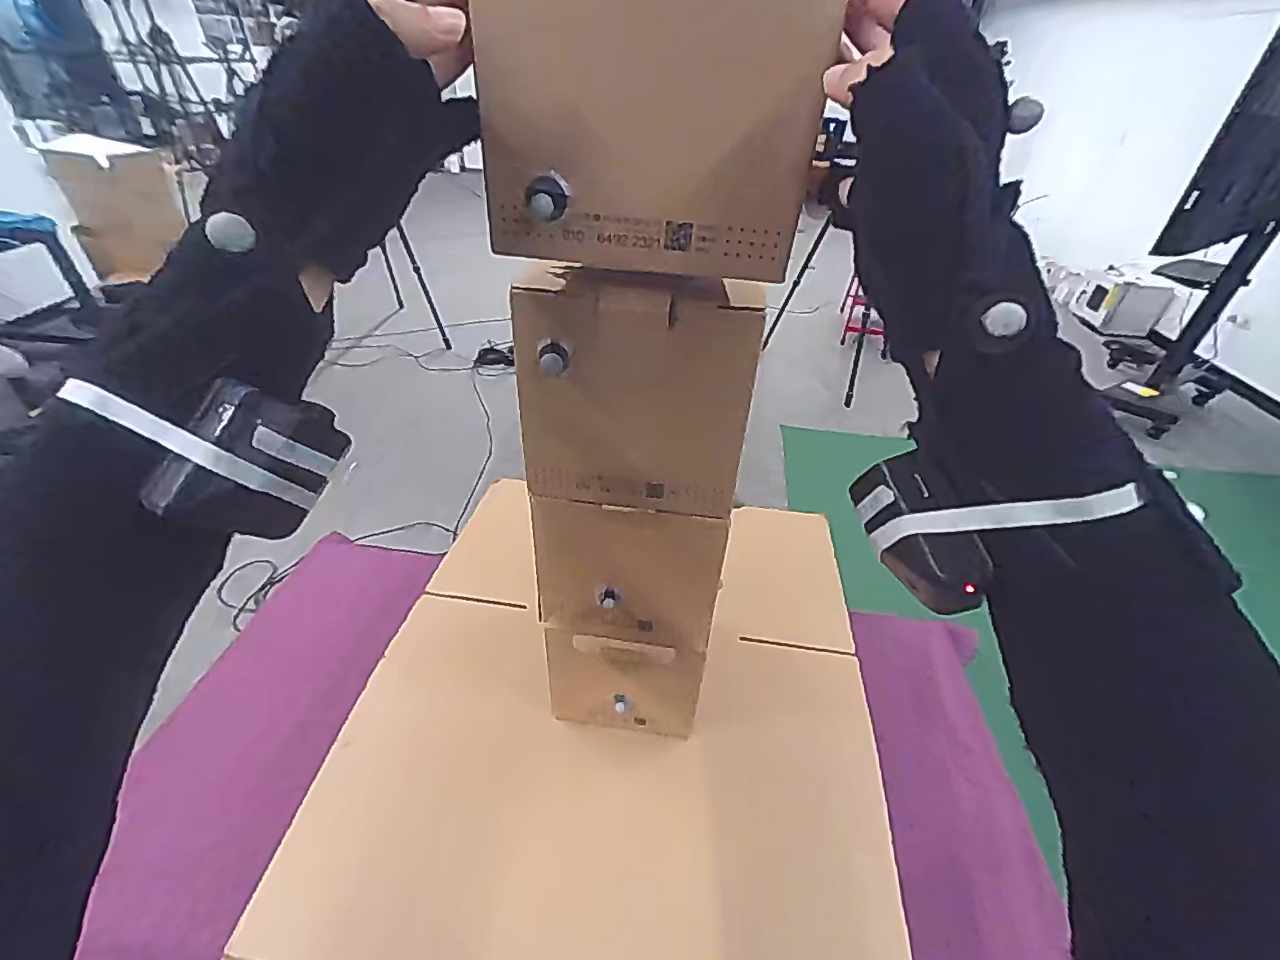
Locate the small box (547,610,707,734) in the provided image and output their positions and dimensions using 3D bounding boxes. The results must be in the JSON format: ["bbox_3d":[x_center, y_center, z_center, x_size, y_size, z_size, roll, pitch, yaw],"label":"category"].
[{"bbox_3d":[-0.007,0.170,0.653,0.168,0.176,0.179,7,36,5],"label":"small box"}]

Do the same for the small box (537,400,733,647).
[{"bbox_3d":[0.000,0.039,0.556,0.168,0.176,0.179,7,36,5],"label":"small box"}]

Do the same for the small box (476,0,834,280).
[{"bbox_3d":[0.012,-0.233,0.325,0.168,0.176,0.179,7,38,2],"label":"small box"}]
